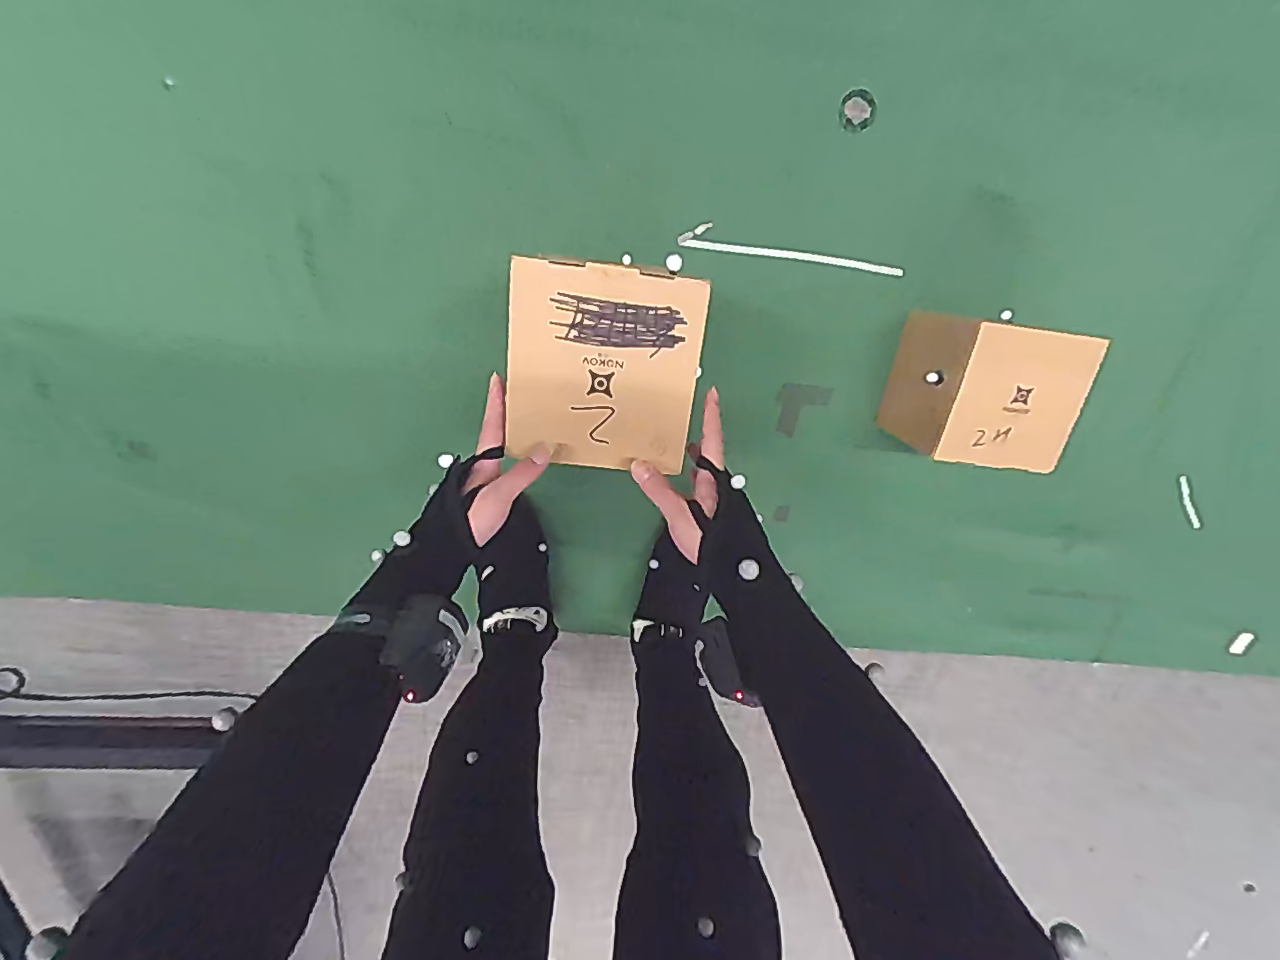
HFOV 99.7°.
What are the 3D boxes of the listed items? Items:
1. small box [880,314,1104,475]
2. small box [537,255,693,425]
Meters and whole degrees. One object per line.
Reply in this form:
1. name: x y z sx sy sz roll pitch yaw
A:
1. small box: 0.462 -0.125 0.745 0.168 0.176 0.179 7 112 -6
2. small box: -0.035 -0.185 0.697 0.168 0.176 0.179 6 111 -5
